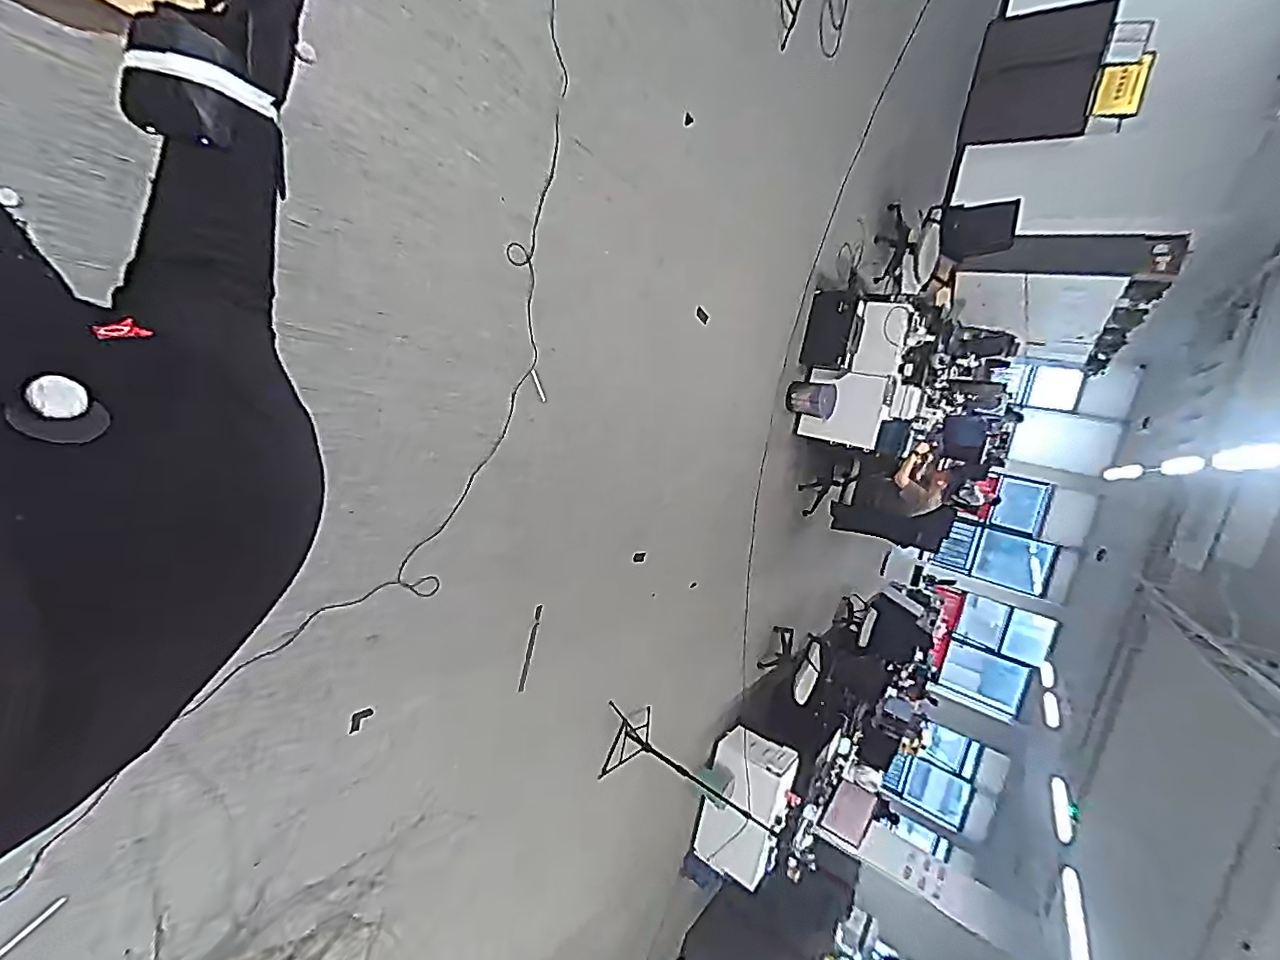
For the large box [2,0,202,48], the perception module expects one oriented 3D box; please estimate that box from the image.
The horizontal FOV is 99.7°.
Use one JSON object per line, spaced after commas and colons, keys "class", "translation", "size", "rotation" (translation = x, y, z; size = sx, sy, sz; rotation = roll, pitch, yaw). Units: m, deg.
{"class": "large box", "translation": [-0.478, -0.484, 0.234], "size": [0.408, 0.320, 0.320], "rotation": [-4, 121, -57]}
